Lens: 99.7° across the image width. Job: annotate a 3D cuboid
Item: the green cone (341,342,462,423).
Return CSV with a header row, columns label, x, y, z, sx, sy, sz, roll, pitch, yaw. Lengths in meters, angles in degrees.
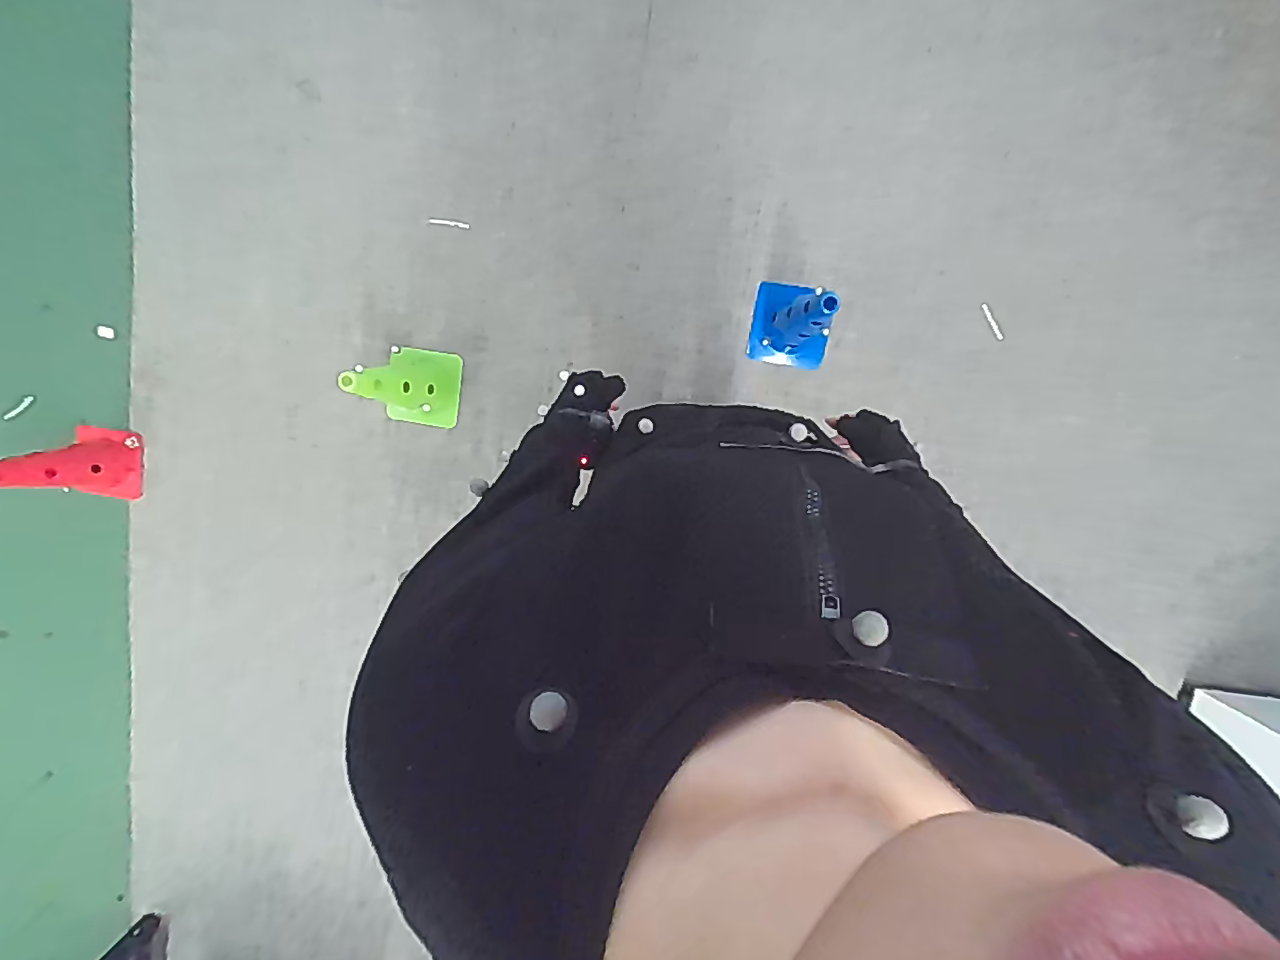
label,x,y,z,sx,sy,sz,roll,pitch,yaw
green cone,-0.595,-0.236,1.295,0.202,0.368,0.200,8,100,2
